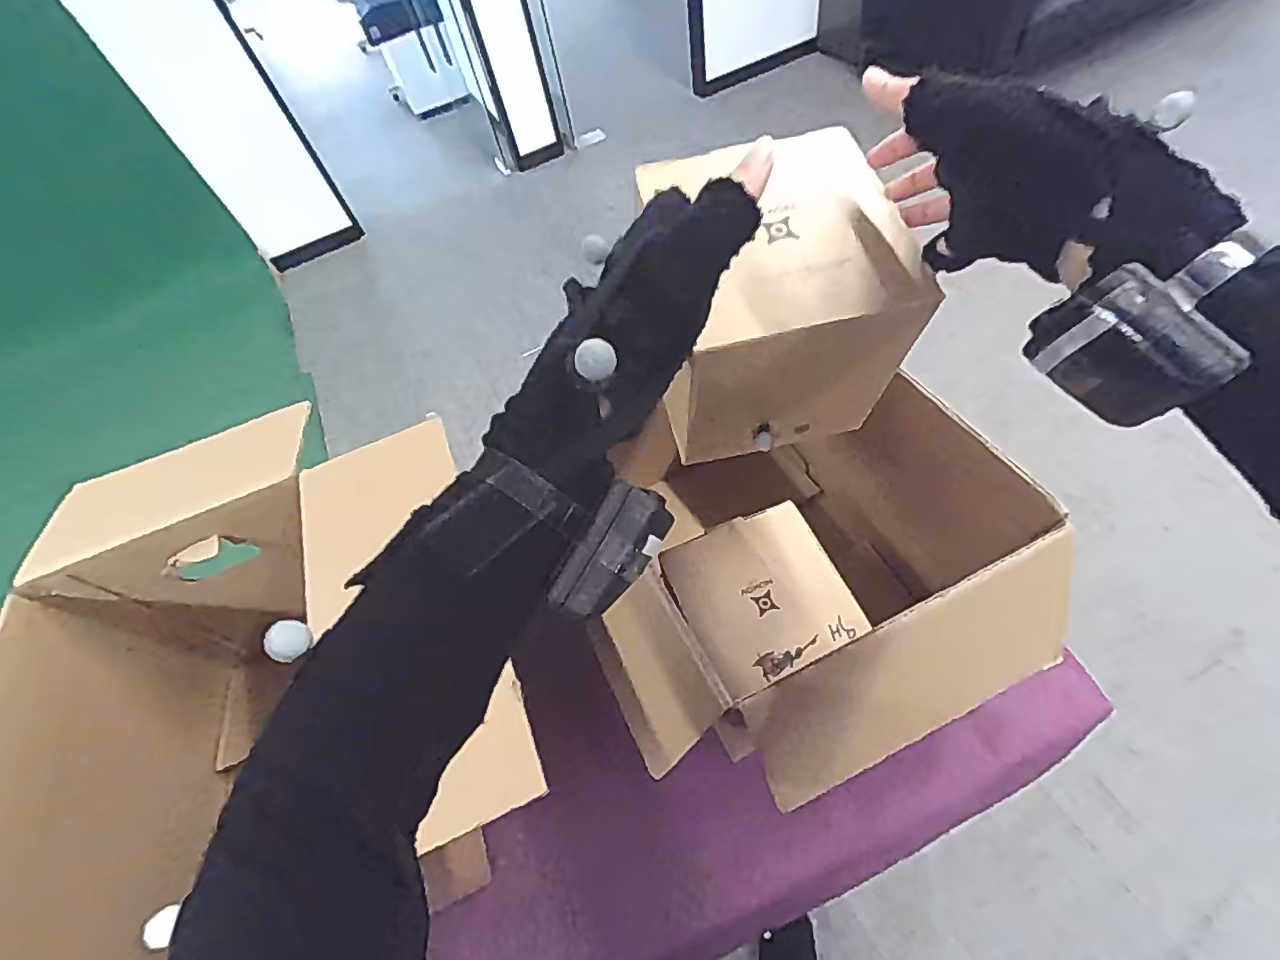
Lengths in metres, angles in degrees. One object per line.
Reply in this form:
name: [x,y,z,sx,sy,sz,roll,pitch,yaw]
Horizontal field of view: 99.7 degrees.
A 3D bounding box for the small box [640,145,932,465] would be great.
small box: [0.098,-0.137,0.456,0.168,0.176,0.179,-13,65,-2]
